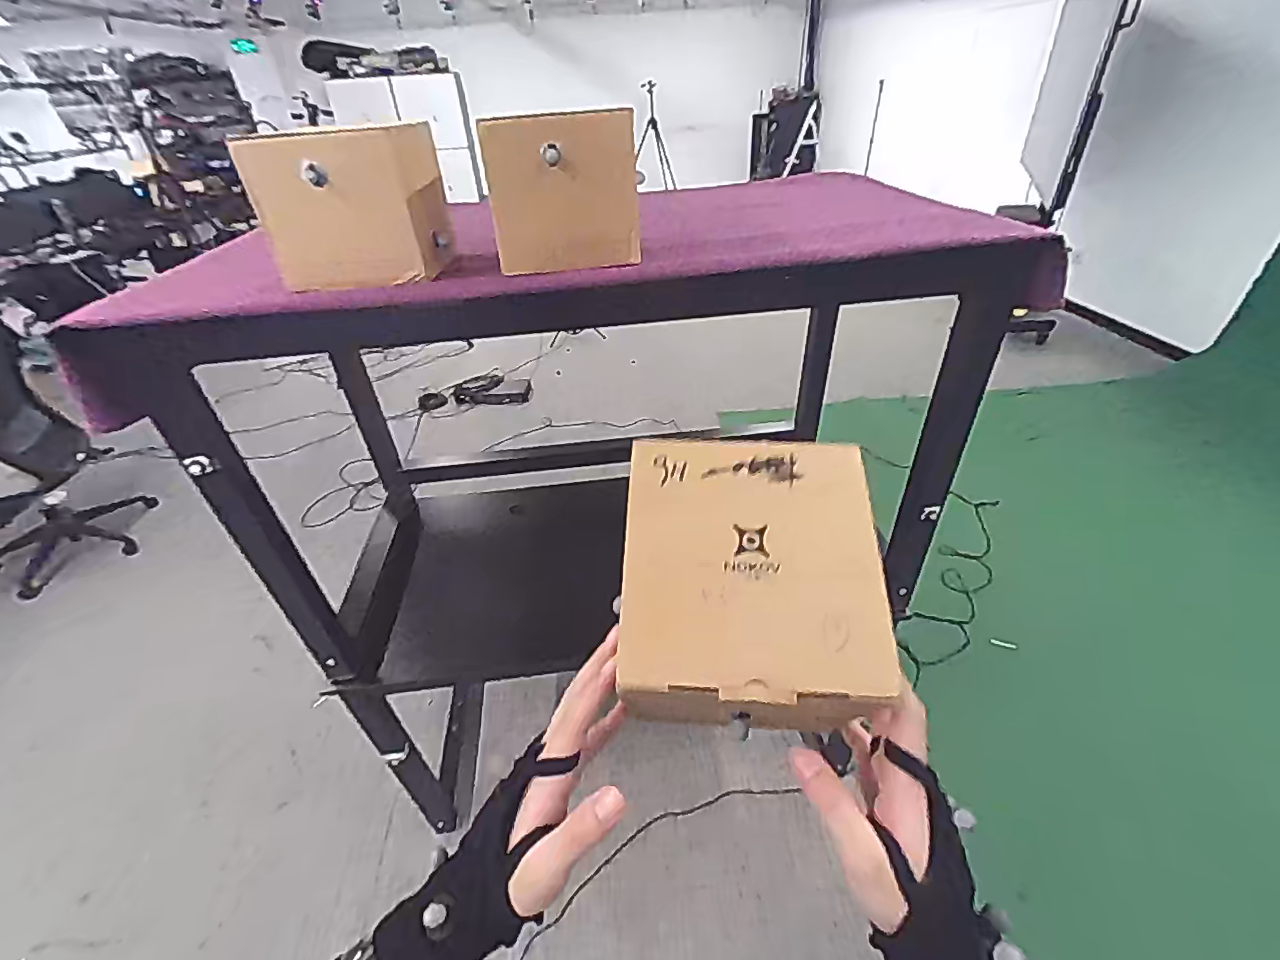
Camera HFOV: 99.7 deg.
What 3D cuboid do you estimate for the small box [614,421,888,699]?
[{"bbox_3d":[0.075,0.072,0.431,0.168,0.176,0.179,2,62,4],"label":"small box"}]

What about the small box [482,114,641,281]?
[{"bbox_3d":[-0.093,-0.374,0.712,0.179,0.176,0.168,-7,35,-3],"label":"small box"}]

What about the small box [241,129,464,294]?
[{"bbox_3d":[-0.348,-0.346,0.698,0.179,0.176,0.168,-3,35,0],"label":"small box"}]
